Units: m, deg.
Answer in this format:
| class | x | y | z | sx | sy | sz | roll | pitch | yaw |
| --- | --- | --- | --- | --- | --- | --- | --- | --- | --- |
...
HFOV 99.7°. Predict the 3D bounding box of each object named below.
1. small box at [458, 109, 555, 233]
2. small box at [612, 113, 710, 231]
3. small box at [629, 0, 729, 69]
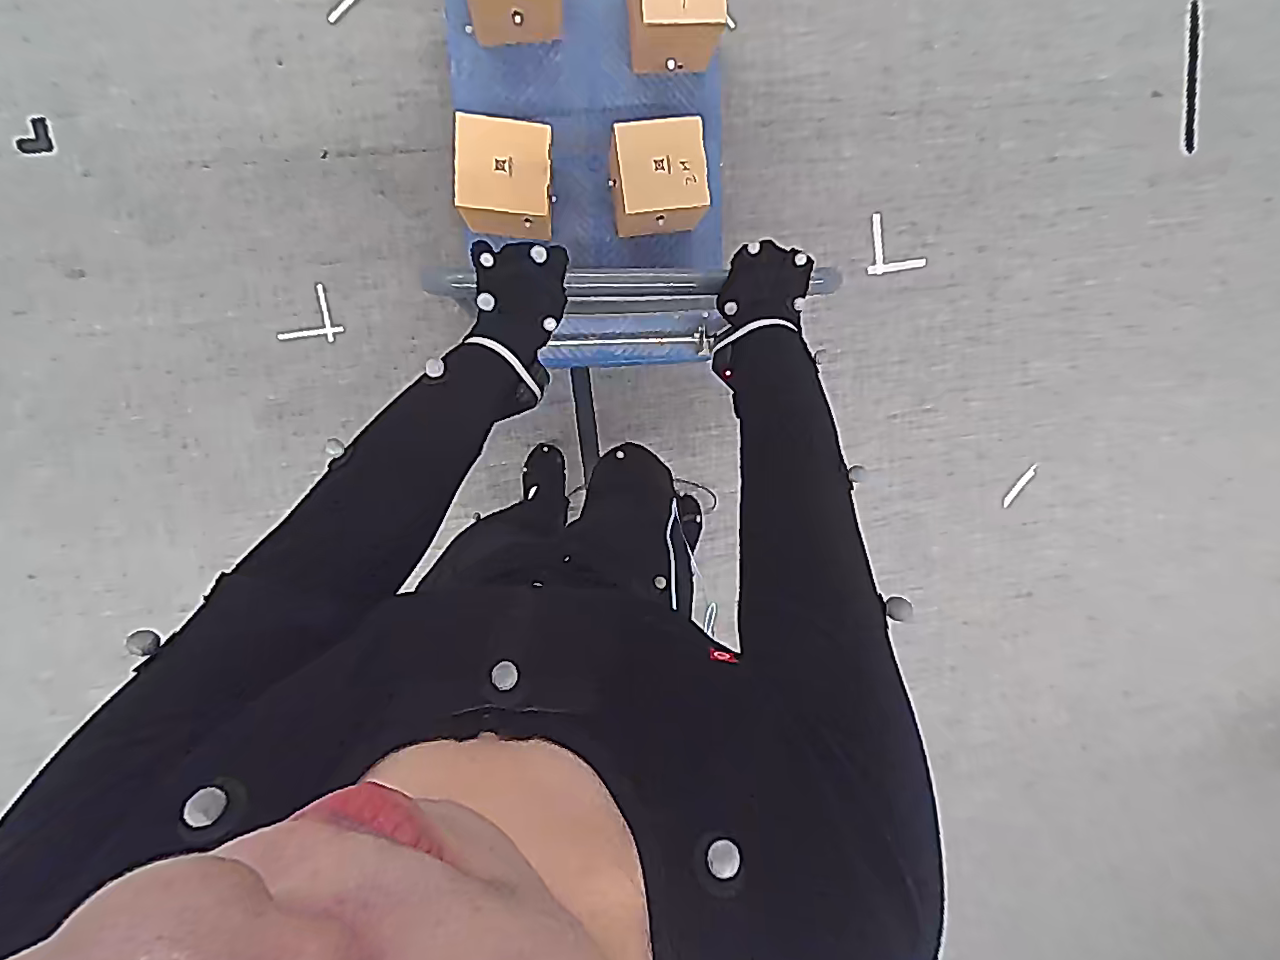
| class | x | y | z | sx | sy | sz | roll | pitch | yaw |
| --- | --- | --- | --- | --- | --- | --- | --- | --- | --- |
| small box | -0.266 | -0.616 | 1.100 | 0.179 | 0.176 | 0.168 | 2 | 99 | -10 |
| small box | 0.037 | -0.638 | 1.138 | 0.179 | 0.176 | 0.168 | -9 | 101 | -6 |
| small box | 0.071 | -0.971 | 1.085 | 0.168 | 0.176 | 0.179 | -7 | 101 | -7 |
